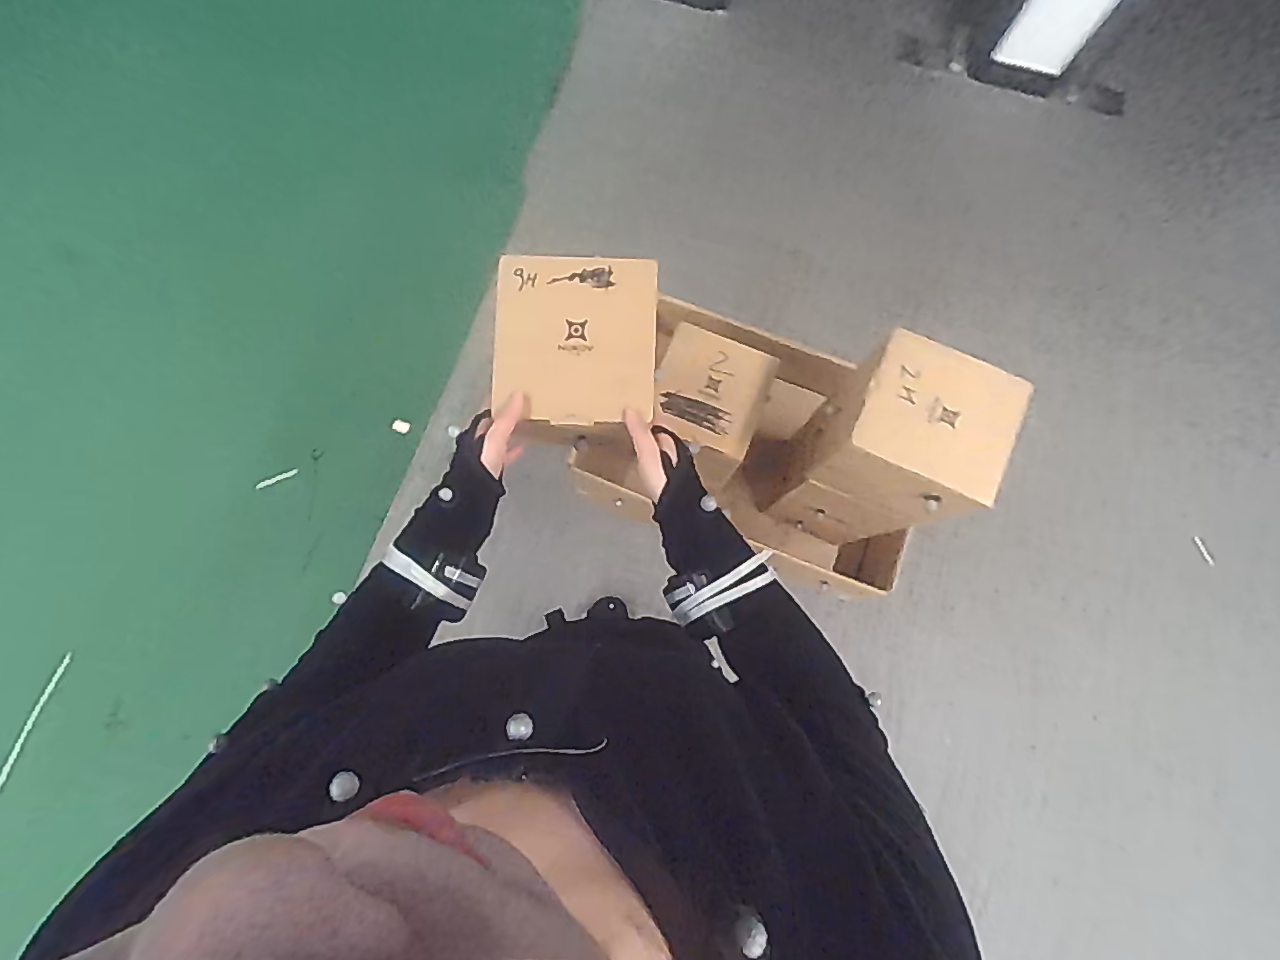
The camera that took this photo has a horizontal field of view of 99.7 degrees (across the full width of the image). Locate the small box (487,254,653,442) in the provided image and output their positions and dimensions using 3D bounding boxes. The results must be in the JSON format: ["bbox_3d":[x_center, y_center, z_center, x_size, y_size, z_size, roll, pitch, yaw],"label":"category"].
[{"bbox_3d":[-0.070,-0.140,0.628,0.168,0.176,0.179,1,86,1],"label":"small box"}]

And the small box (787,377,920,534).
[{"bbox_3d":[0.354,-0.030,0.862,0.168,0.176,0.179,24,80,6],"label":"small box"}]

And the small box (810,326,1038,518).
[{"bbox_3d":[0.351,-0.062,0.700,0.179,0.176,0.168,26,79,6],"label":"small box"}]
